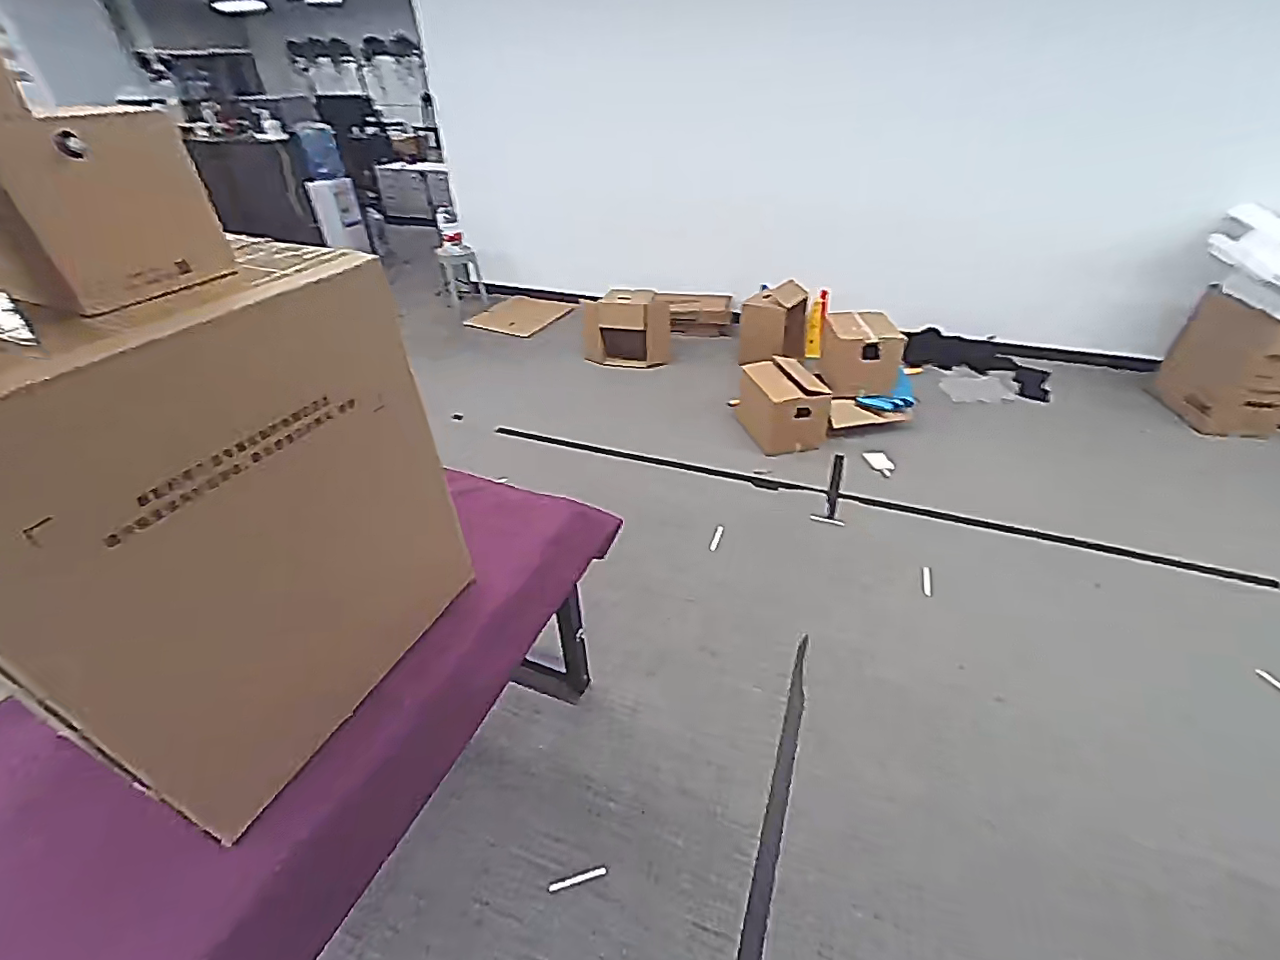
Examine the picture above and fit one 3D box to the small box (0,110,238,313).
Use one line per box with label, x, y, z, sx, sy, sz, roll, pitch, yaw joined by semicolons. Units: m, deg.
small box;-0.600;-0.293;0.587;0.179;0.176;0.168;13;40;20
